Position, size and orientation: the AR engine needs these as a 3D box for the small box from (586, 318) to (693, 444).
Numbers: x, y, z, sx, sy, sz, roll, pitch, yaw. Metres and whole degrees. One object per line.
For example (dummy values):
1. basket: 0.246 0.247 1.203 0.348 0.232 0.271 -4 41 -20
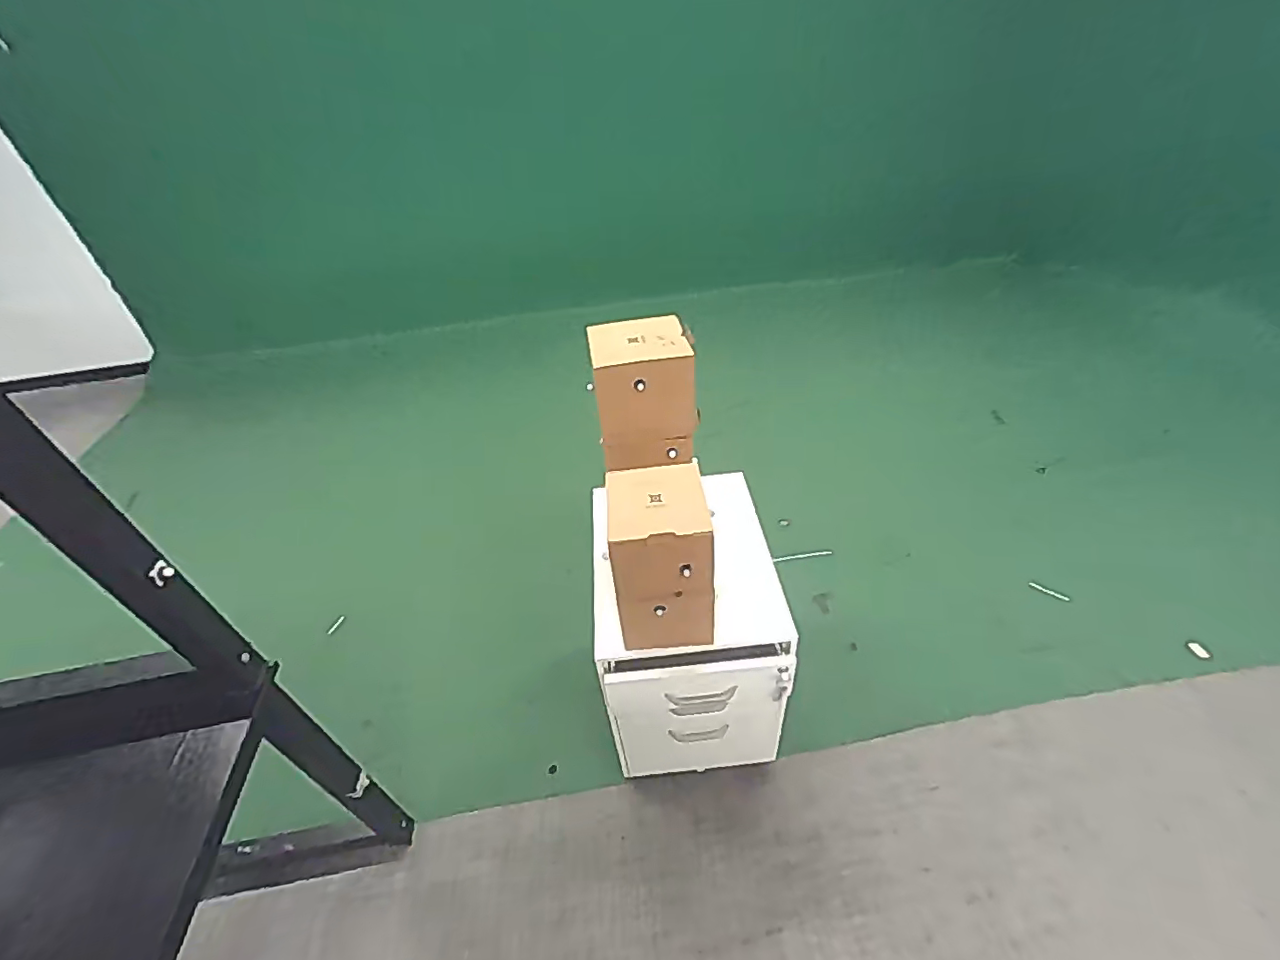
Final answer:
1. small box: 0.000 -0.182 1.009 0.179 0.176 0.168 -8 41 -4

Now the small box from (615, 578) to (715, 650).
1. small box: 0.049 0.211 1.041 0.179 0.176 0.168 -4 39 2

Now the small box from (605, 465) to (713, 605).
1. small box: 0.032 0.098 0.925 0.168 0.176 0.179 -6 39 -1

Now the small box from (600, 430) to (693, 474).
1. small box: 0.017 -0.061 1.118 0.179 0.176 0.168 -3 39 2
